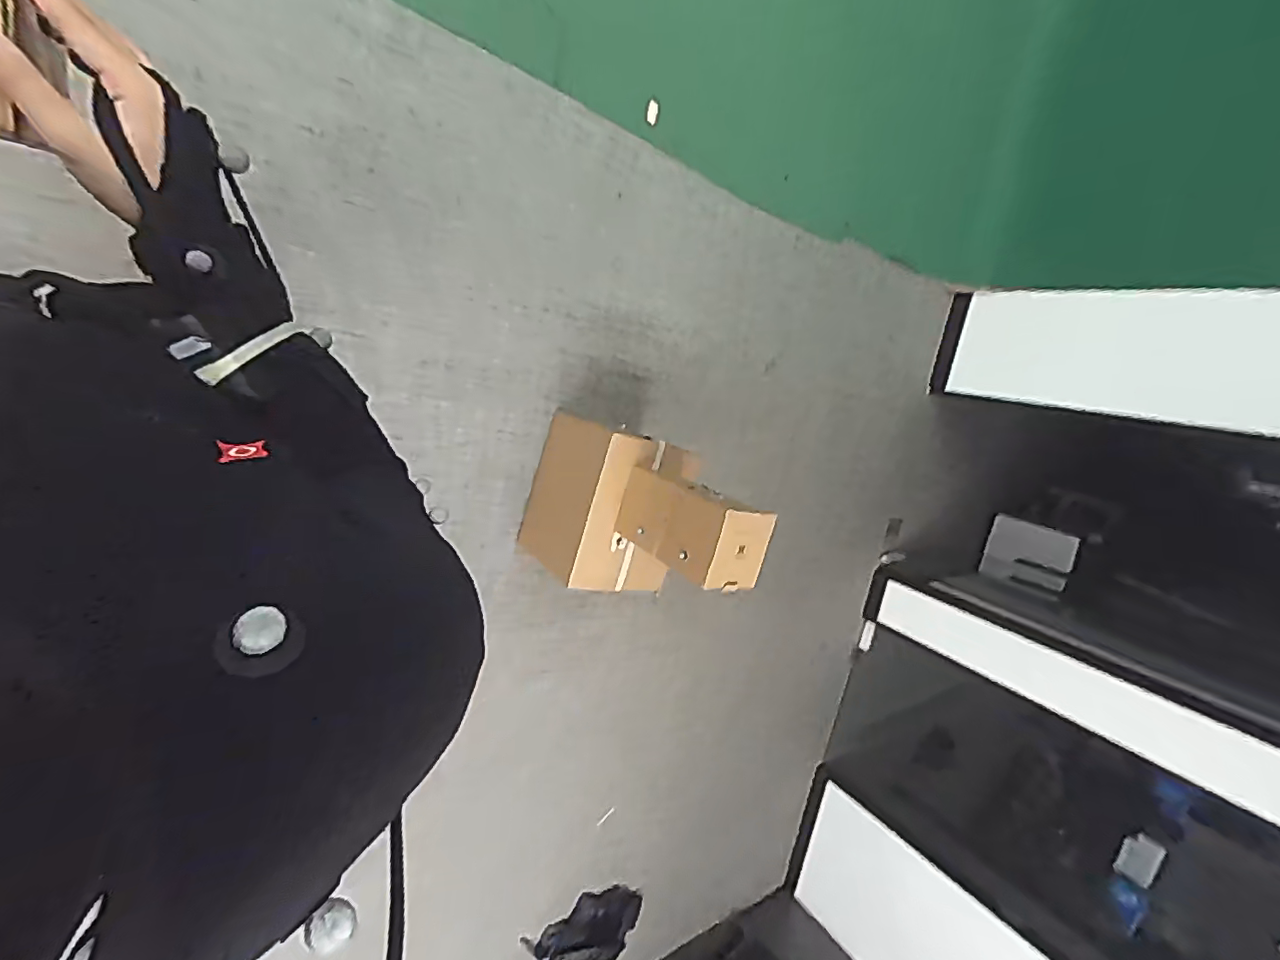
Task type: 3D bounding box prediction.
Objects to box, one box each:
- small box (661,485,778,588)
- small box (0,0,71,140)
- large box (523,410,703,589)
[{"bbox_3d":[0.168,0.123,1.190,0.168,0.176,0.179,7,101,-39],"label":"small box"},{"bbox_3d":[-0.404,-0.280,0.250,0.179,0.176,0.168,-1,112,-41],"label":"small box"},{"bbox_3d":[-0.085,0.052,1.504,0.320,0.320,0.408,11,100,-37],"label":"large box"}]
